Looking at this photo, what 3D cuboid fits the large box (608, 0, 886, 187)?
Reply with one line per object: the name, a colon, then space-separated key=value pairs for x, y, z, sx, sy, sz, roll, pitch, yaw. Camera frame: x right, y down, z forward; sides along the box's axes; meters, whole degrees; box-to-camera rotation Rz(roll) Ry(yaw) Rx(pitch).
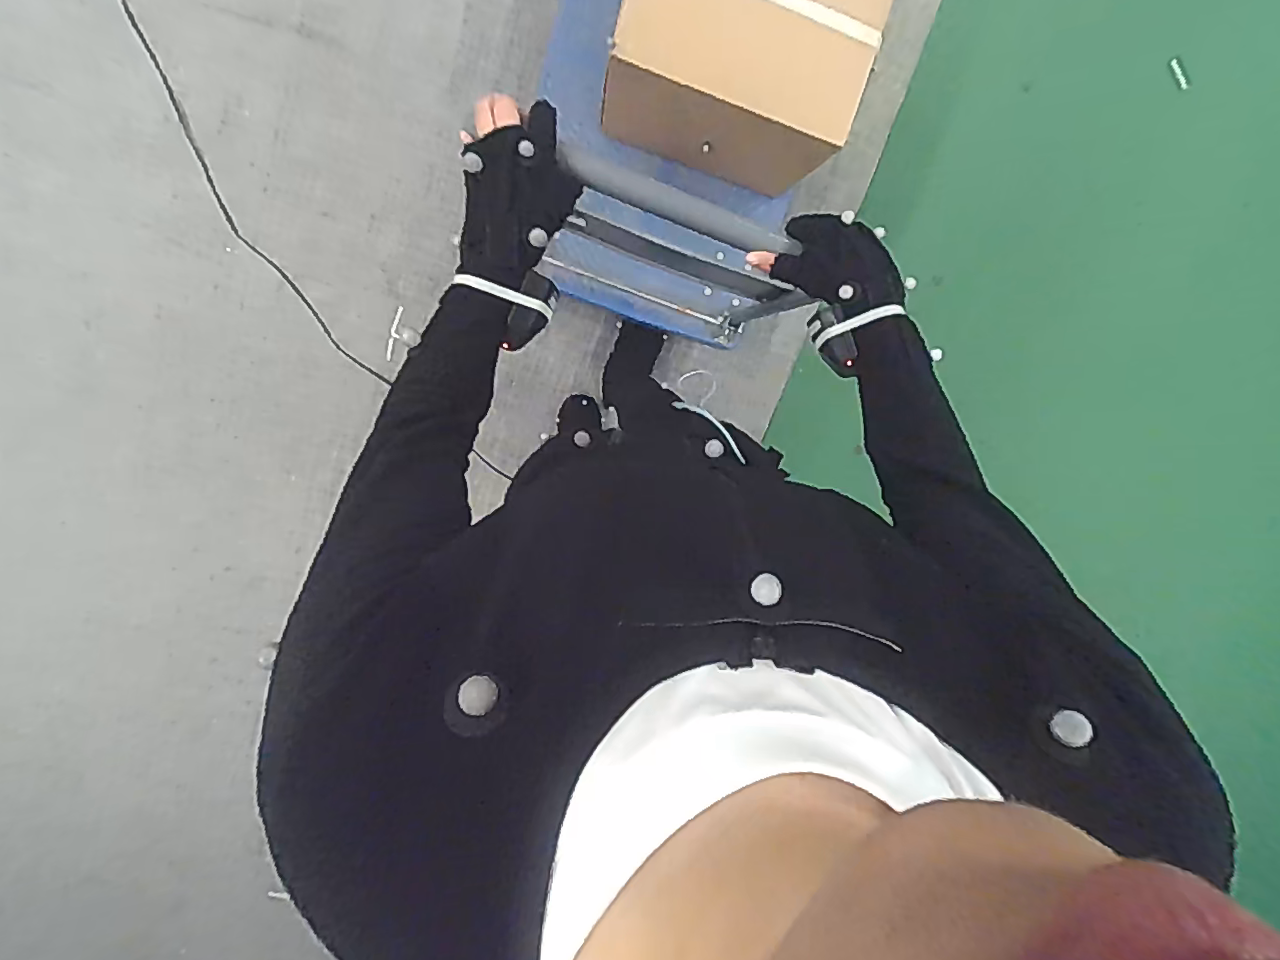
large box: x=0.175 y=-0.790 z=0.987 sx=0.408 sy=0.320 sz=0.320 roll=14 pitch=101 yaw=-9
